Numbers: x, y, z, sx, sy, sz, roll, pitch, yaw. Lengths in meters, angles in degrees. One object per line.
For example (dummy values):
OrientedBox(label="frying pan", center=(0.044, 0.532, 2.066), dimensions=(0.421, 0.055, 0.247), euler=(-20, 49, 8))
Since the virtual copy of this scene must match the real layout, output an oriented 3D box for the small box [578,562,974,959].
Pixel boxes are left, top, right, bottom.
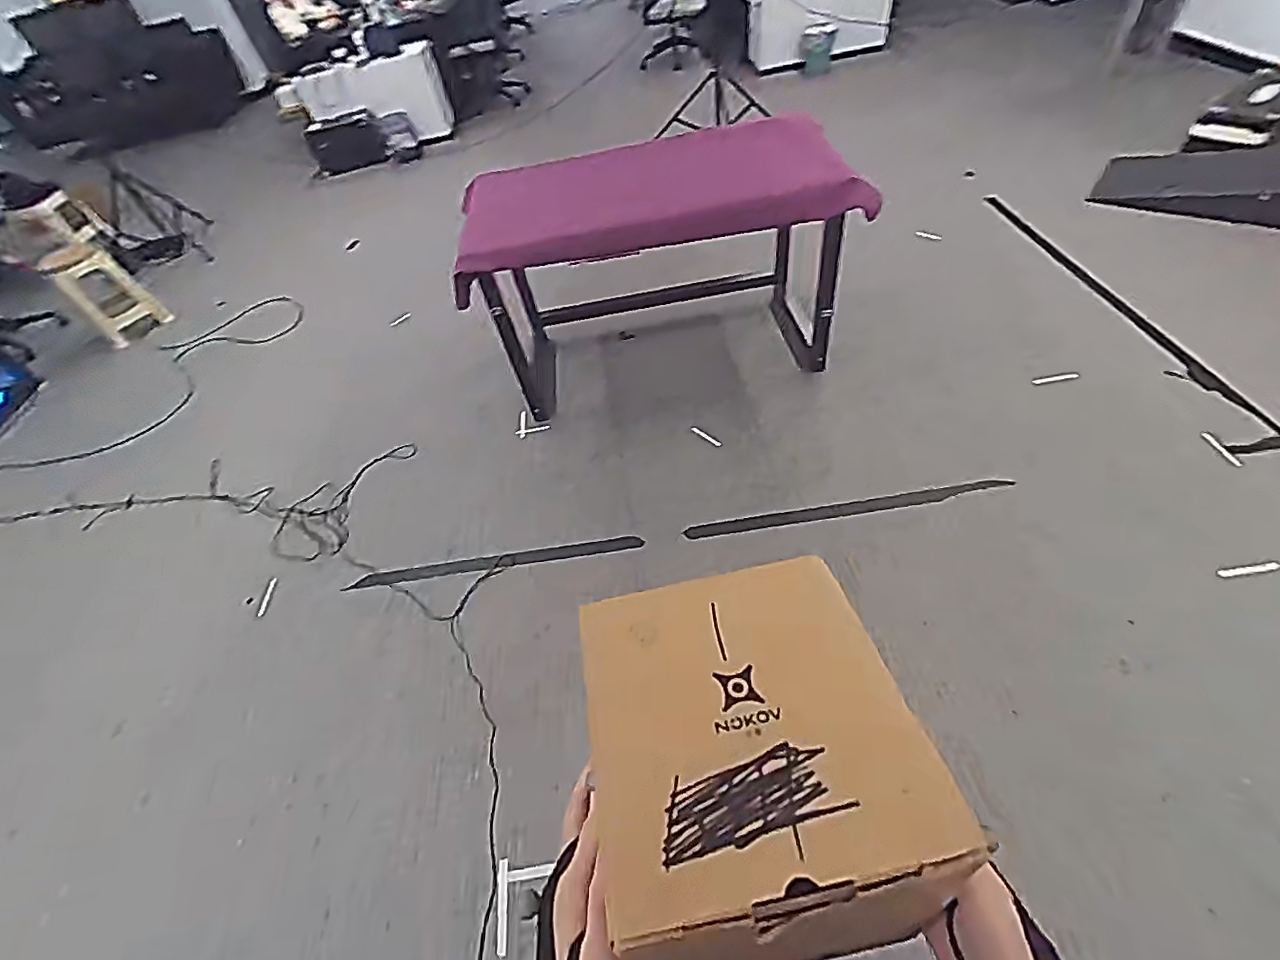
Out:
OrientedBox(label="small box", center=(0.063, 0.185, 0.341), dimensions=(0.168, 0.176, 0.179), euler=(-12, 39, -3))
